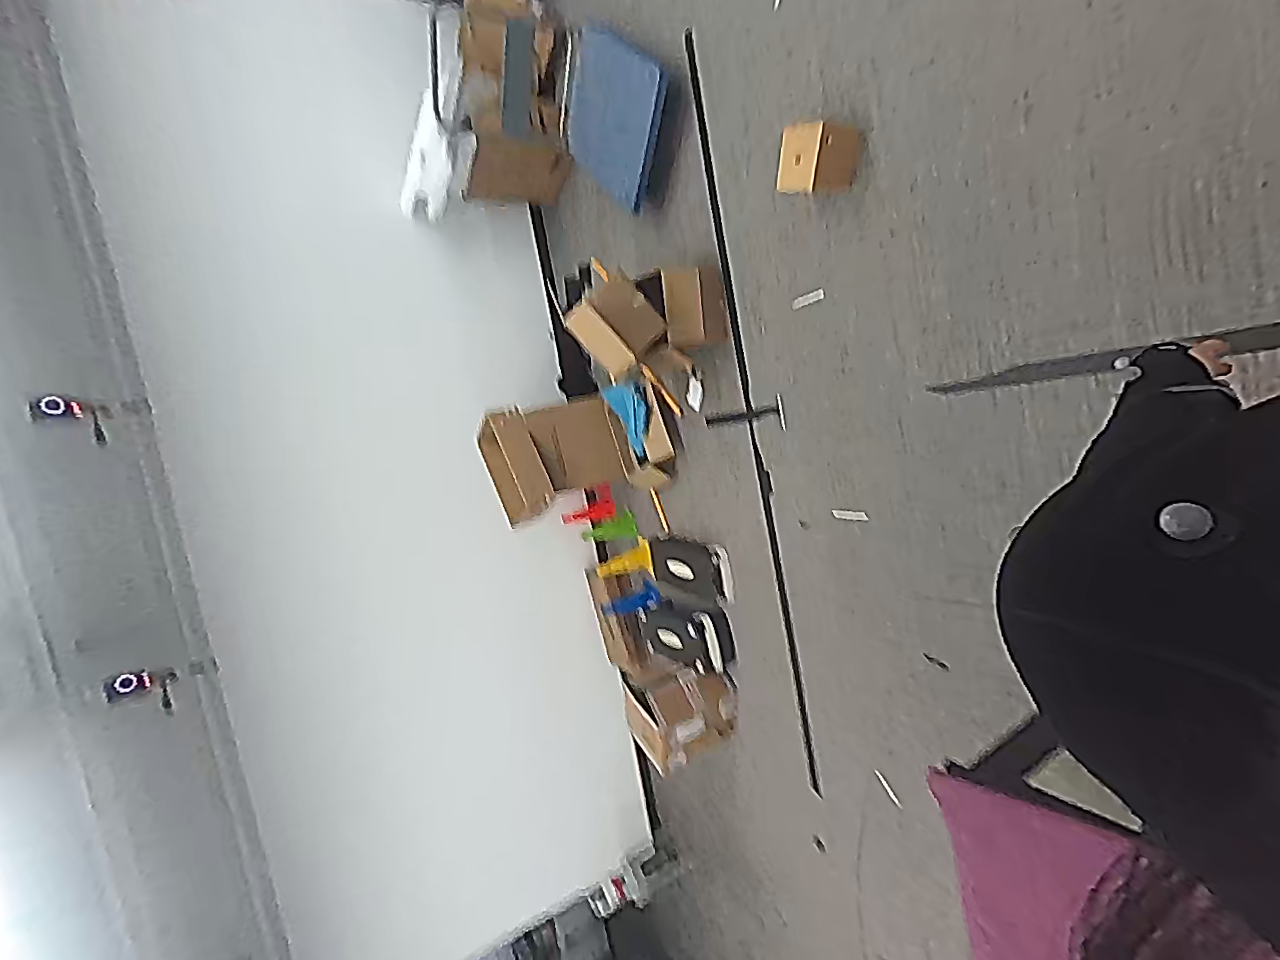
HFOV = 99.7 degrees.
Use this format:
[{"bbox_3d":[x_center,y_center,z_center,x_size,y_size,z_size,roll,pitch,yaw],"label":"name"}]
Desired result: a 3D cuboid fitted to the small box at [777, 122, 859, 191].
[{"bbox_3d":[0.561,-1.014,1.704,0.168,0.176,0.179,40,135,51],"label":"small box"}]
